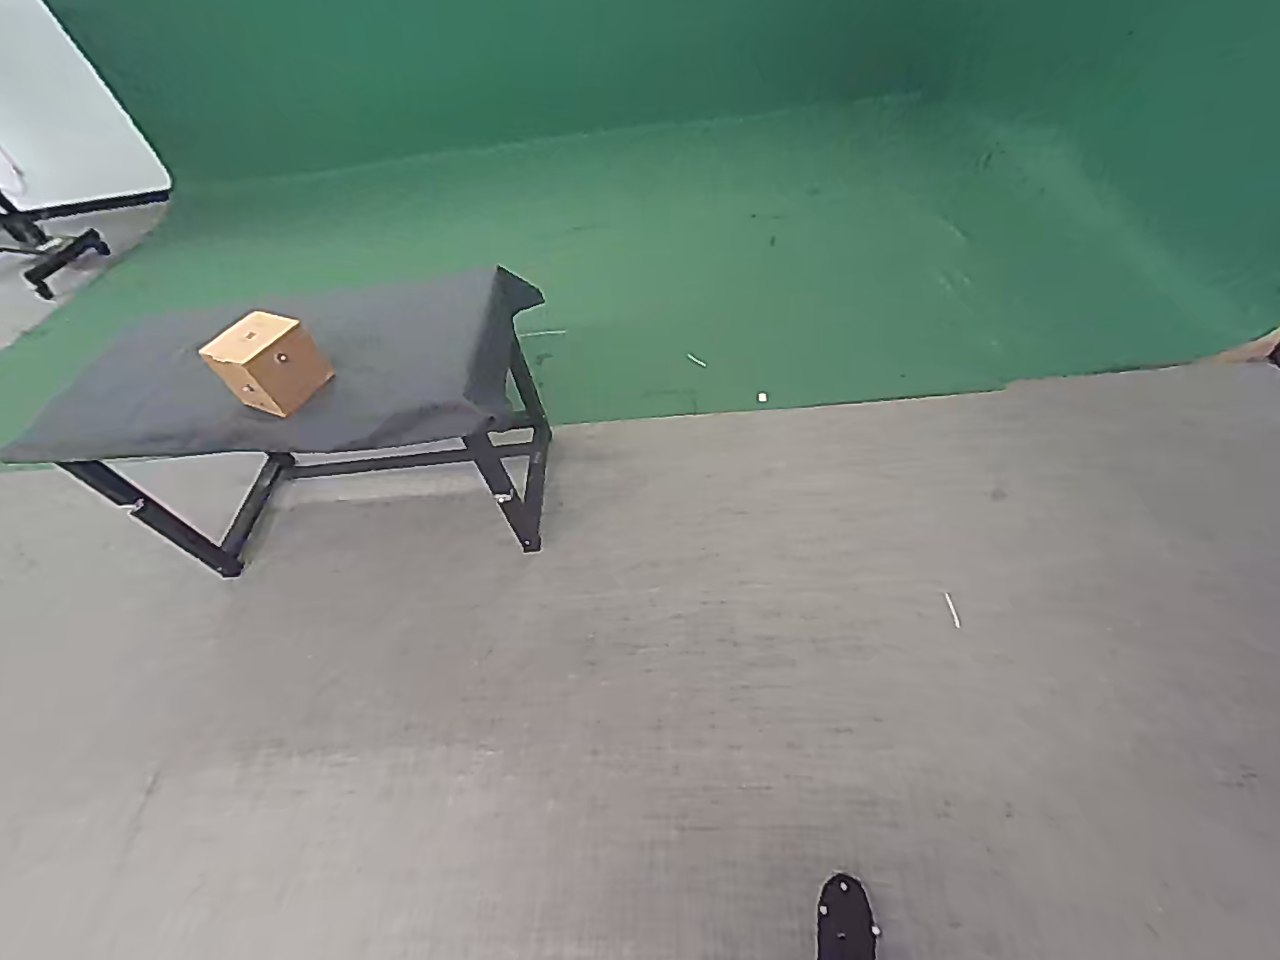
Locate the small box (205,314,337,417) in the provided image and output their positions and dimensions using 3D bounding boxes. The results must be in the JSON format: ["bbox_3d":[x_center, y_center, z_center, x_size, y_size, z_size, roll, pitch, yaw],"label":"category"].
[{"bbox_3d":[-0.907,-0.282,1.348,0.168,0.176,0.179,17,54,20],"label":"small box"}]
